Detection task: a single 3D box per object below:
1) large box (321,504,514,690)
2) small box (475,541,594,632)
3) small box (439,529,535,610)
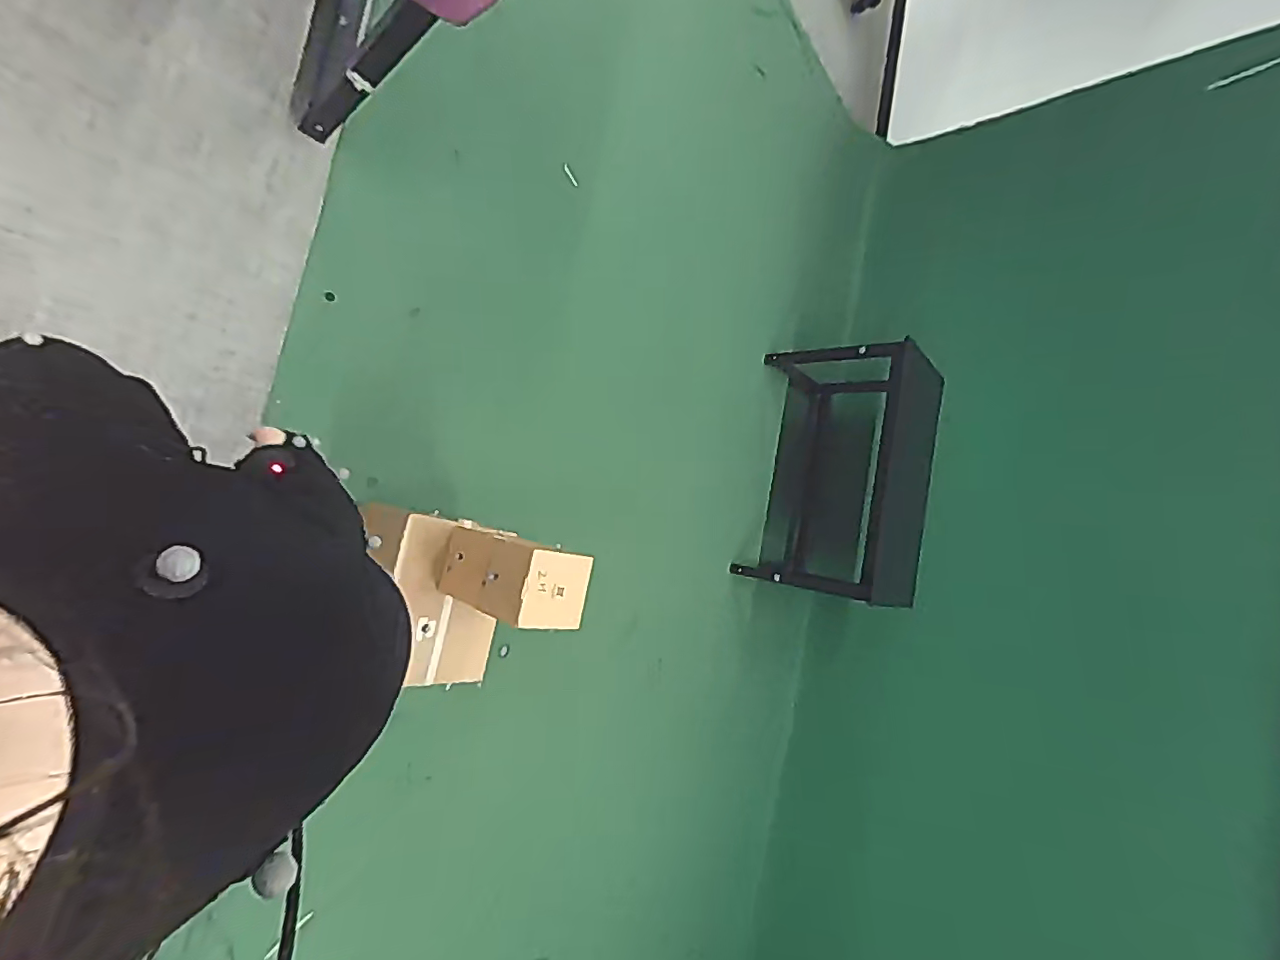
[{"bbox_3d":[-0.587,0.296,1.434,0.320,0.320,0.408,19,81,-46],"label":"large box"},{"bbox_3d":[-0.235,0.236,1.207,0.179,0.176,0.168,18,81,-47],"label":"small box"},{"bbox_3d":[-0.355,0.222,1.320,0.179,0.176,0.168,20,80,-47],"label":"small box"}]
